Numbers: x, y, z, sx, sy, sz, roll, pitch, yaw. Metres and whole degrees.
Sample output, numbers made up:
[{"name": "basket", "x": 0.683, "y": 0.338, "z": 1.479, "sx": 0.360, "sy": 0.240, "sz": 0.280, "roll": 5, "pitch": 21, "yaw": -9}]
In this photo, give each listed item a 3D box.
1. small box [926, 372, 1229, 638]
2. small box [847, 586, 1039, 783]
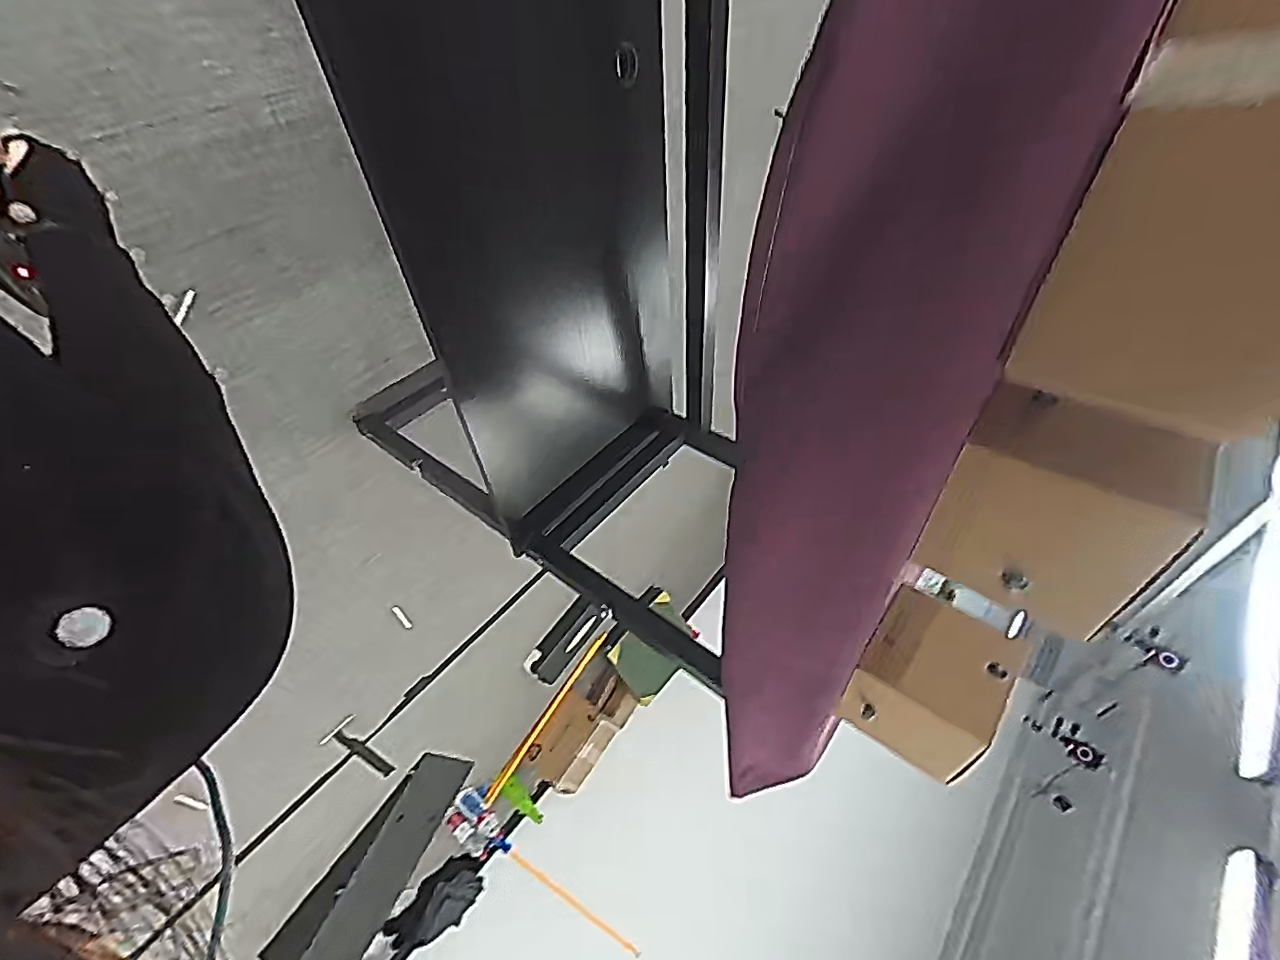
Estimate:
[{"name": "small box", "x": 0.406, "y": 0.011, "z": 0.527, "sx": 0.168, "sy": 0.176, "sz": 0.179, "roll": -43, "pitch": 145, "yaw": -32}, {"name": "small box", "x": 0.416, "y": 0.284, "z": 0.770, "sx": 0.168, "sy": 0.176, "sz": 0.179, "roll": -44, "pitch": 147, "yaw": -30}]
